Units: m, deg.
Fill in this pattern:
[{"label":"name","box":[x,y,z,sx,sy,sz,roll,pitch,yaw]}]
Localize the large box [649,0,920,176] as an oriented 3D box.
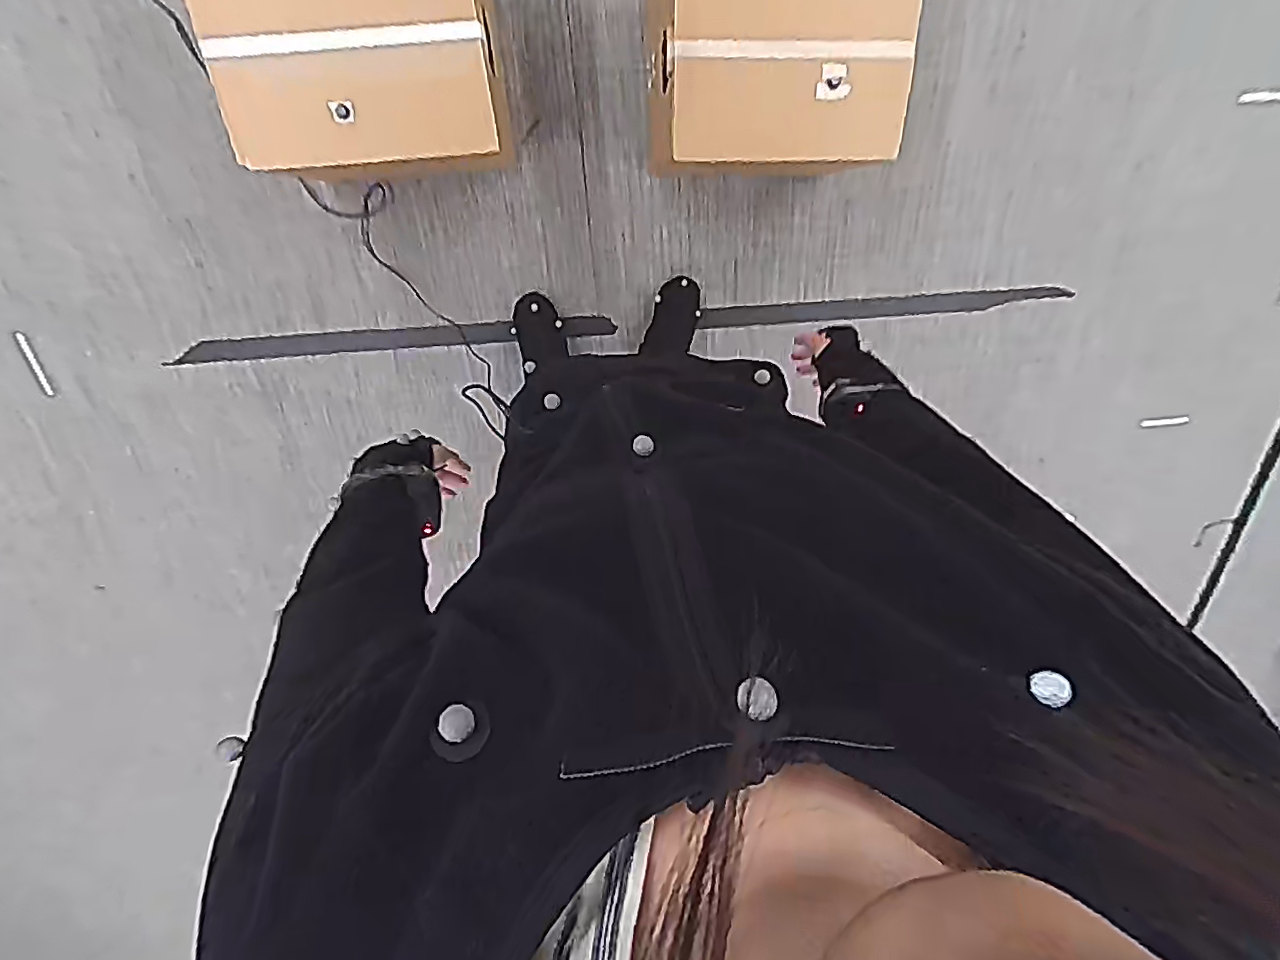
[{"label":"large box","box":[0.236,-0.762,1.012,0.408,0.320,0.320,-4,116,-6]}]
